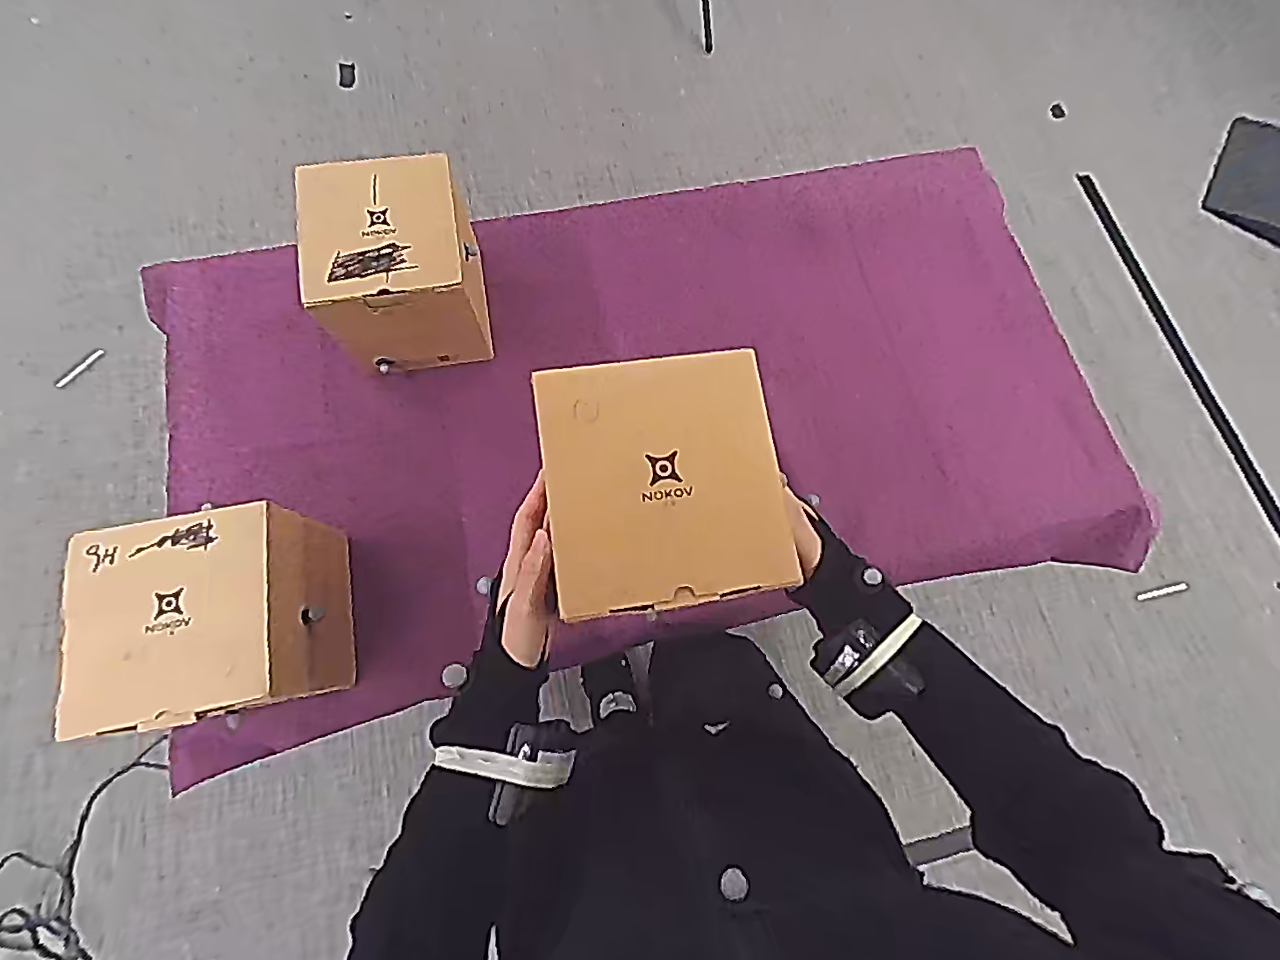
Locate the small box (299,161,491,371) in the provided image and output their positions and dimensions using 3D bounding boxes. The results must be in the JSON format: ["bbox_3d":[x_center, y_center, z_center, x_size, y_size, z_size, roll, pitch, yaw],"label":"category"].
[{"bbox_3d":[-0.287,-0.247,0.663,0.168,0.176,0.179,-9,75,-7],"label":"small box"}]

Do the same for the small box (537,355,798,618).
[{"bbox_3d":[0.009,0.017,0.457,0.168,0.176,0.179,-8,78,-6],"label":"small box"}]

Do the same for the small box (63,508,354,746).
[{"bbox_3d":[-0.407,0.141,0.543,0.168,0.176,0.179,-10,75,-7],"label":"small box"}]
